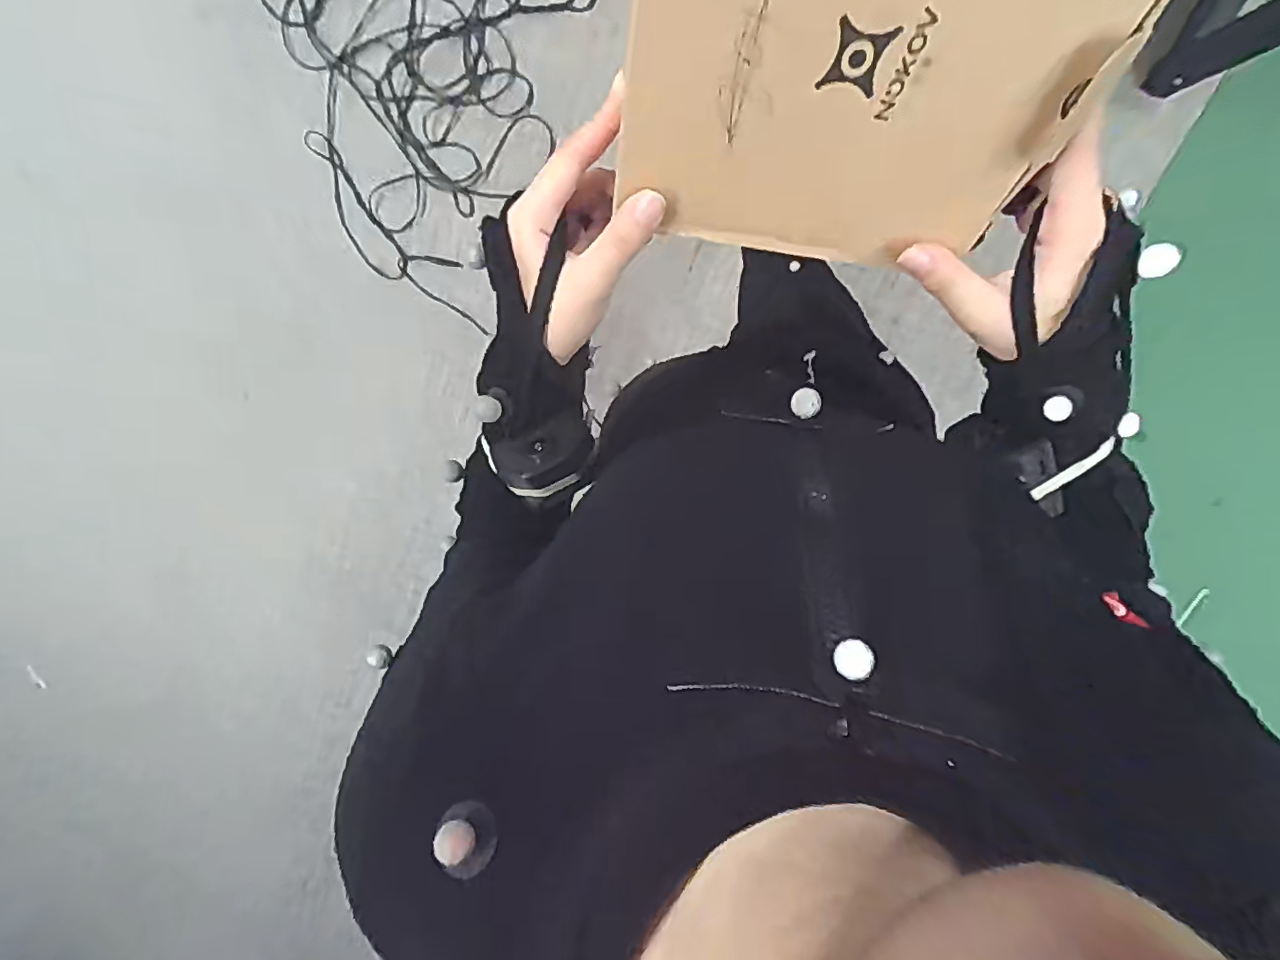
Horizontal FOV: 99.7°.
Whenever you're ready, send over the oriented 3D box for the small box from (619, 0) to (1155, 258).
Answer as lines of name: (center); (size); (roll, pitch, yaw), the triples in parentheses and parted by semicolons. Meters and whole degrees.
small box: (0.090, -0.229, 0.234); (0.179, 0.176, 0.168); (7, 149, -4)
